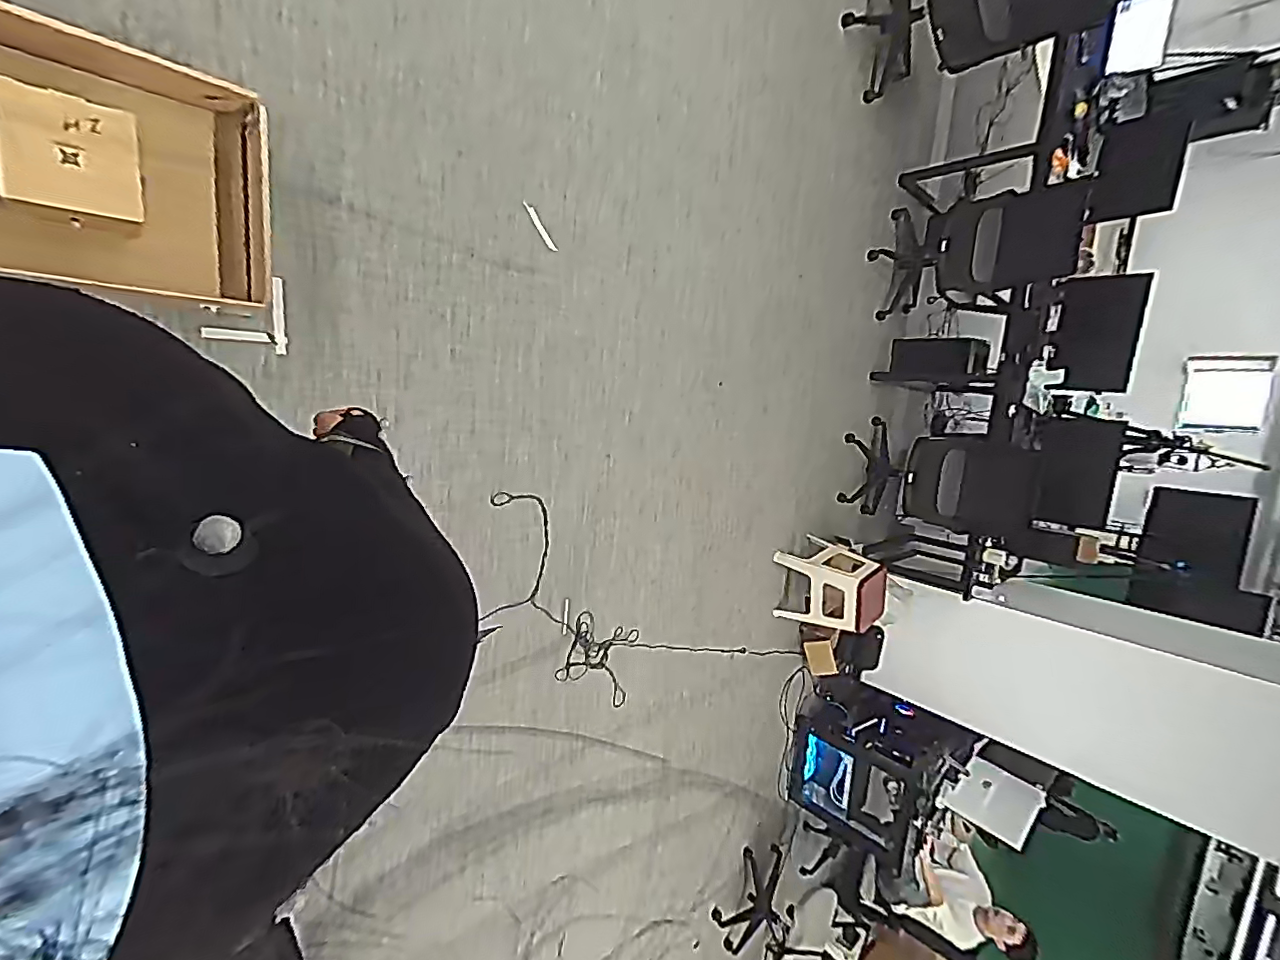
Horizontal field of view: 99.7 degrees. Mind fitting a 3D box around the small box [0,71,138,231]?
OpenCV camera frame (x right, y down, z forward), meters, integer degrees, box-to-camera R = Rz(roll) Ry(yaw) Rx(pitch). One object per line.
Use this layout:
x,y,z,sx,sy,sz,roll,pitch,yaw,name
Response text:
-0.966,-0.539,0.915,0.168,0.176,0.179,-5,103,-44,small box
